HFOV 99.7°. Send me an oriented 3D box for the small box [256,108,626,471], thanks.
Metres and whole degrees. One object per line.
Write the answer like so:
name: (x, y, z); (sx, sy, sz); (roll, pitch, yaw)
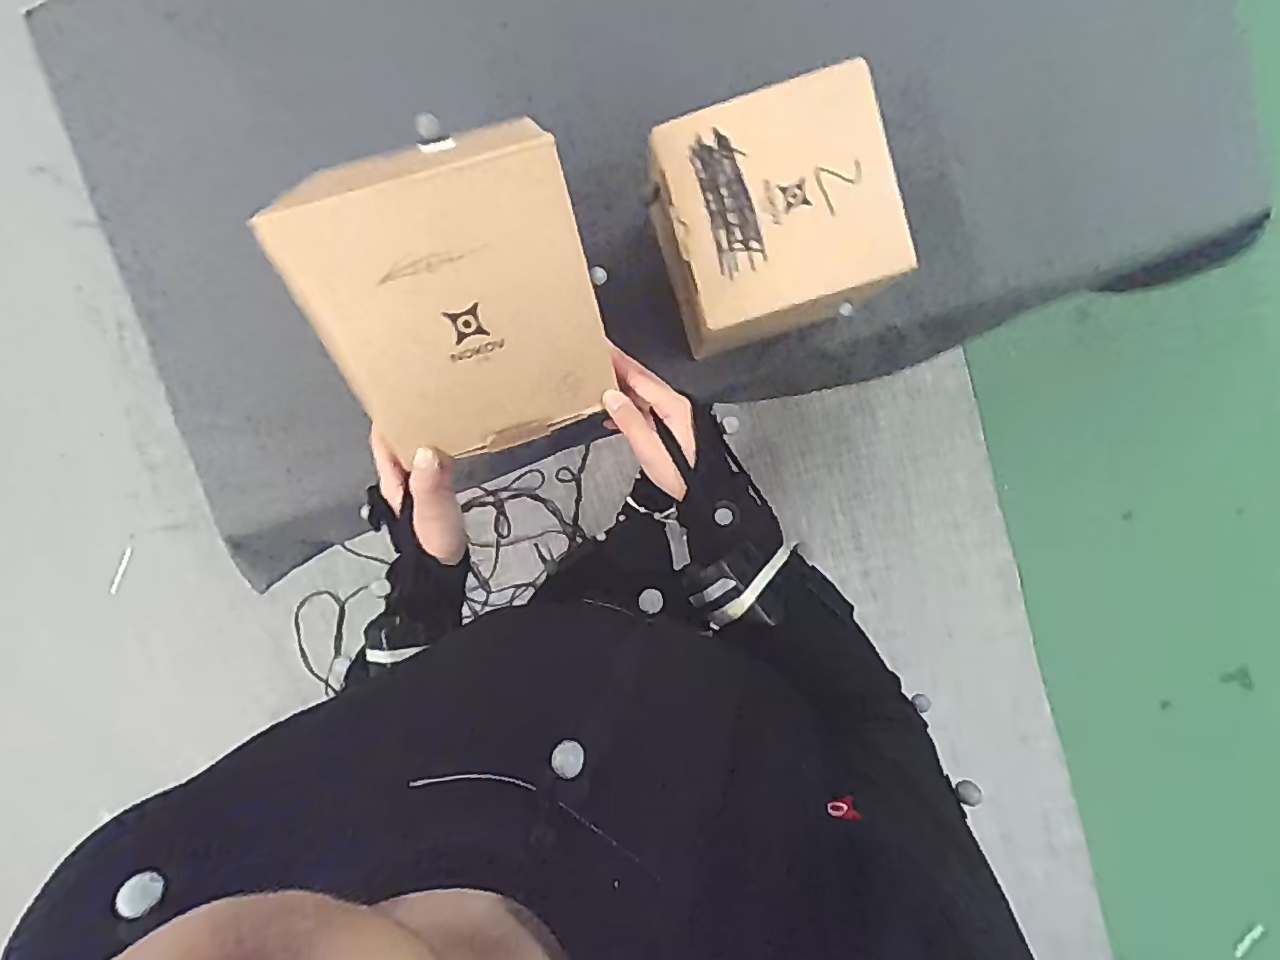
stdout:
small box: (-0.121, -0.141, 0.391); (0.168, 0.176, 0.179); (-19, 131, -5)
